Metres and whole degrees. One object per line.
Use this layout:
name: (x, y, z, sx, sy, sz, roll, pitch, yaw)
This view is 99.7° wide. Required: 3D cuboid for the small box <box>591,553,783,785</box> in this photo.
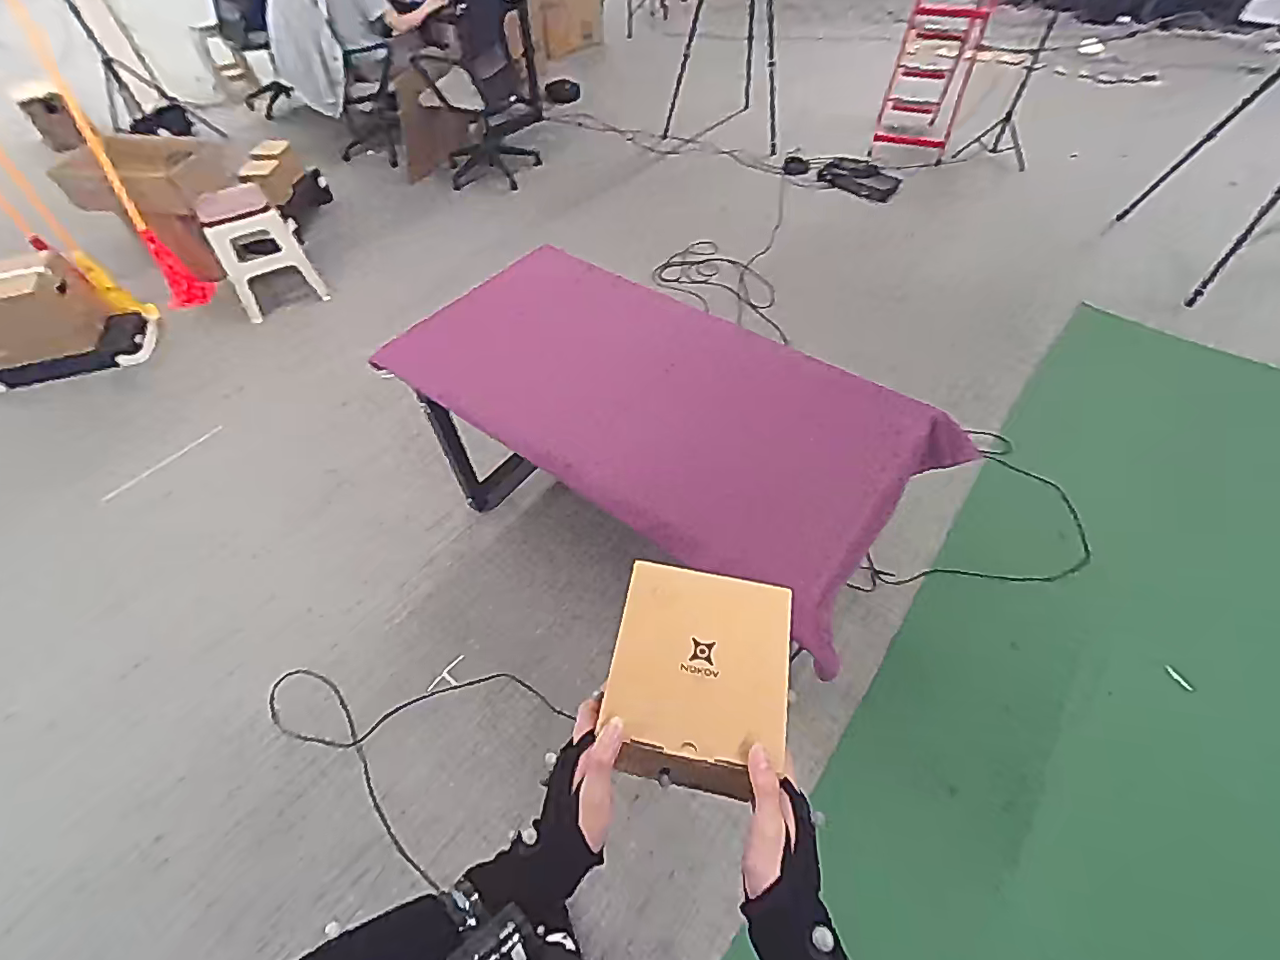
small box: (0.048, 0.206, 0.579, 0.168, 0.176, 0.179, 10, 56, 5)
